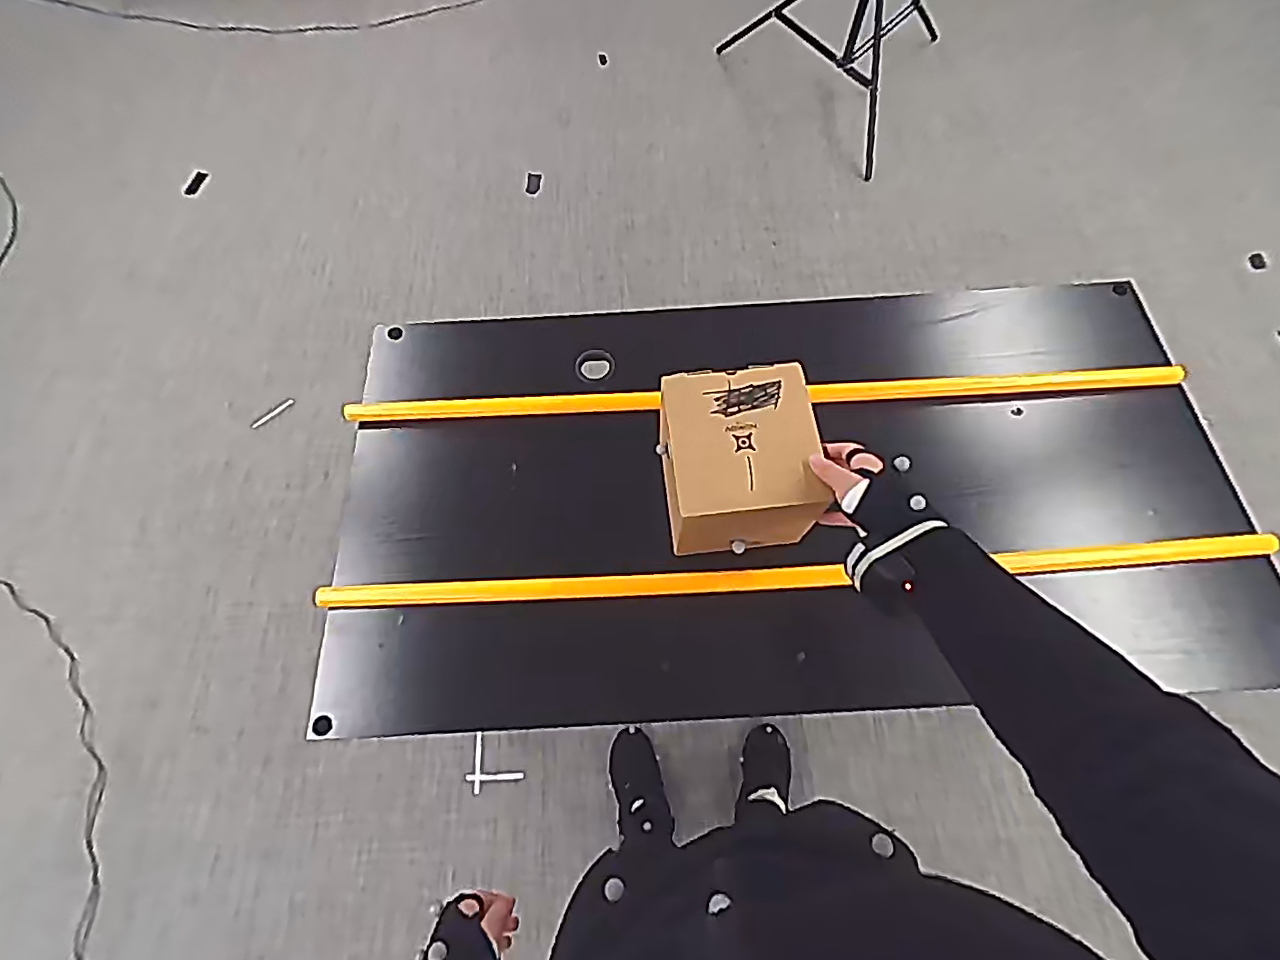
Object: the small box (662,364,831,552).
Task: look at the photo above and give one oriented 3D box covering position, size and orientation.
[{"bbox_3d":[0.117,-0.020,0.680,0.168,0.176,0.179,-6,69,0],"label":"small box"}]
